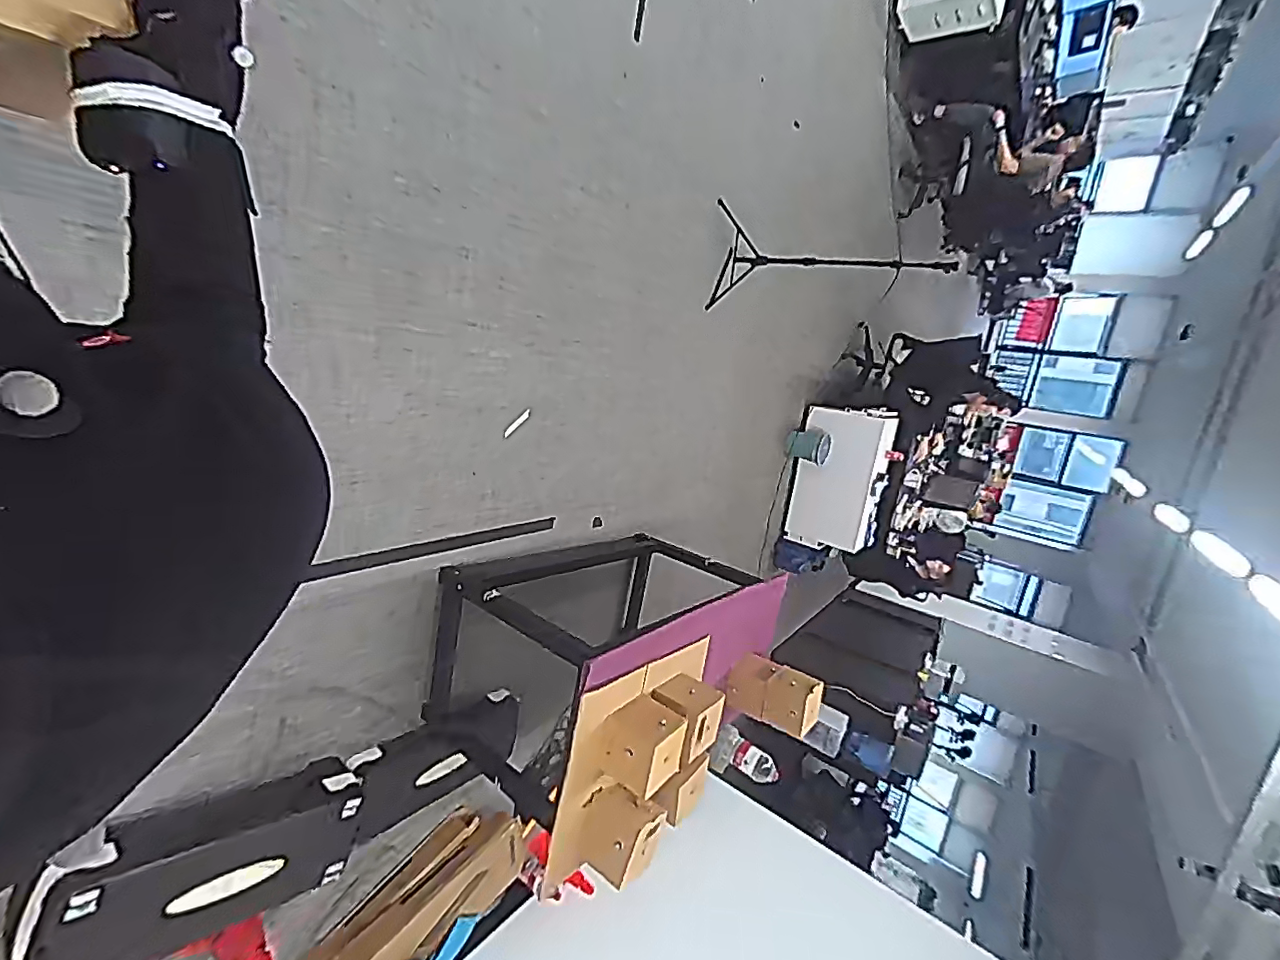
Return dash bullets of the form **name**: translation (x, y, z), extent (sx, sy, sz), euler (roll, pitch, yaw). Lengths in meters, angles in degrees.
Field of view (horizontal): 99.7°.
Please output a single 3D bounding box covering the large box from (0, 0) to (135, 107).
- **large box**: translation (-0.567, -0.451, 0.263), extent (0.408, 0.320, 0.320), euler (-10, 114, -53)
